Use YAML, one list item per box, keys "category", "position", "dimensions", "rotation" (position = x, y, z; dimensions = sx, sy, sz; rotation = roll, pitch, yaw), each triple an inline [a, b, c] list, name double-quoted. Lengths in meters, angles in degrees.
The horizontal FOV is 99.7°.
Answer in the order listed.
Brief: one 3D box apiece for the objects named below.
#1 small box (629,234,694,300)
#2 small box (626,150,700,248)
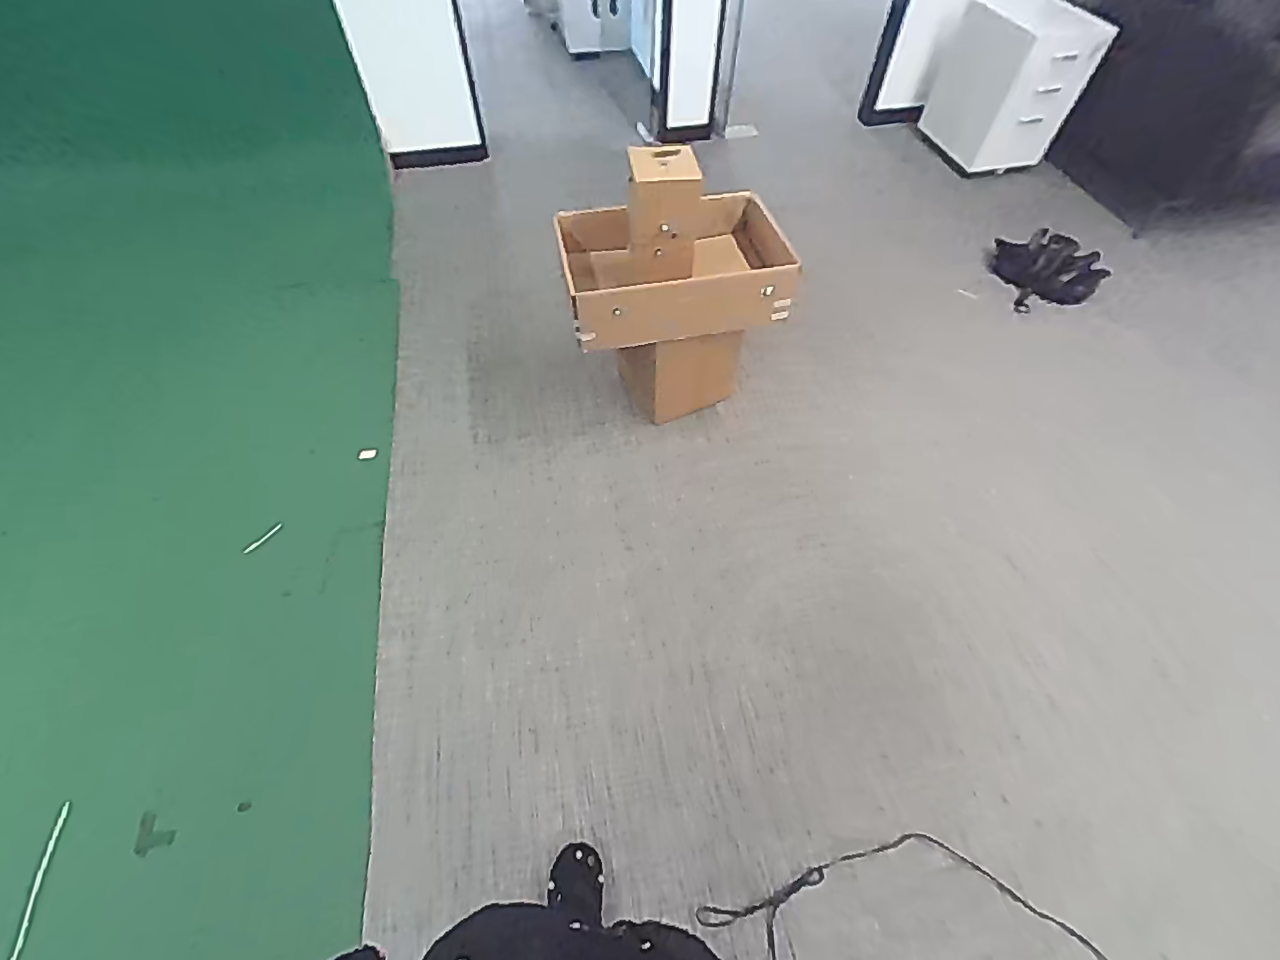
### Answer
- category: "small box"
  position: [0.055, -0.639, 1.548]
  dimensions: [0.168, 0.176, 0.179]
  rotation: [-4, 54, -3]
- category: "small box"
  position: [0.053, -0.733, 1.413]
  dimensions: [0.168, 0.176, 0.179]
  rotation: [-5, 56, -5]
